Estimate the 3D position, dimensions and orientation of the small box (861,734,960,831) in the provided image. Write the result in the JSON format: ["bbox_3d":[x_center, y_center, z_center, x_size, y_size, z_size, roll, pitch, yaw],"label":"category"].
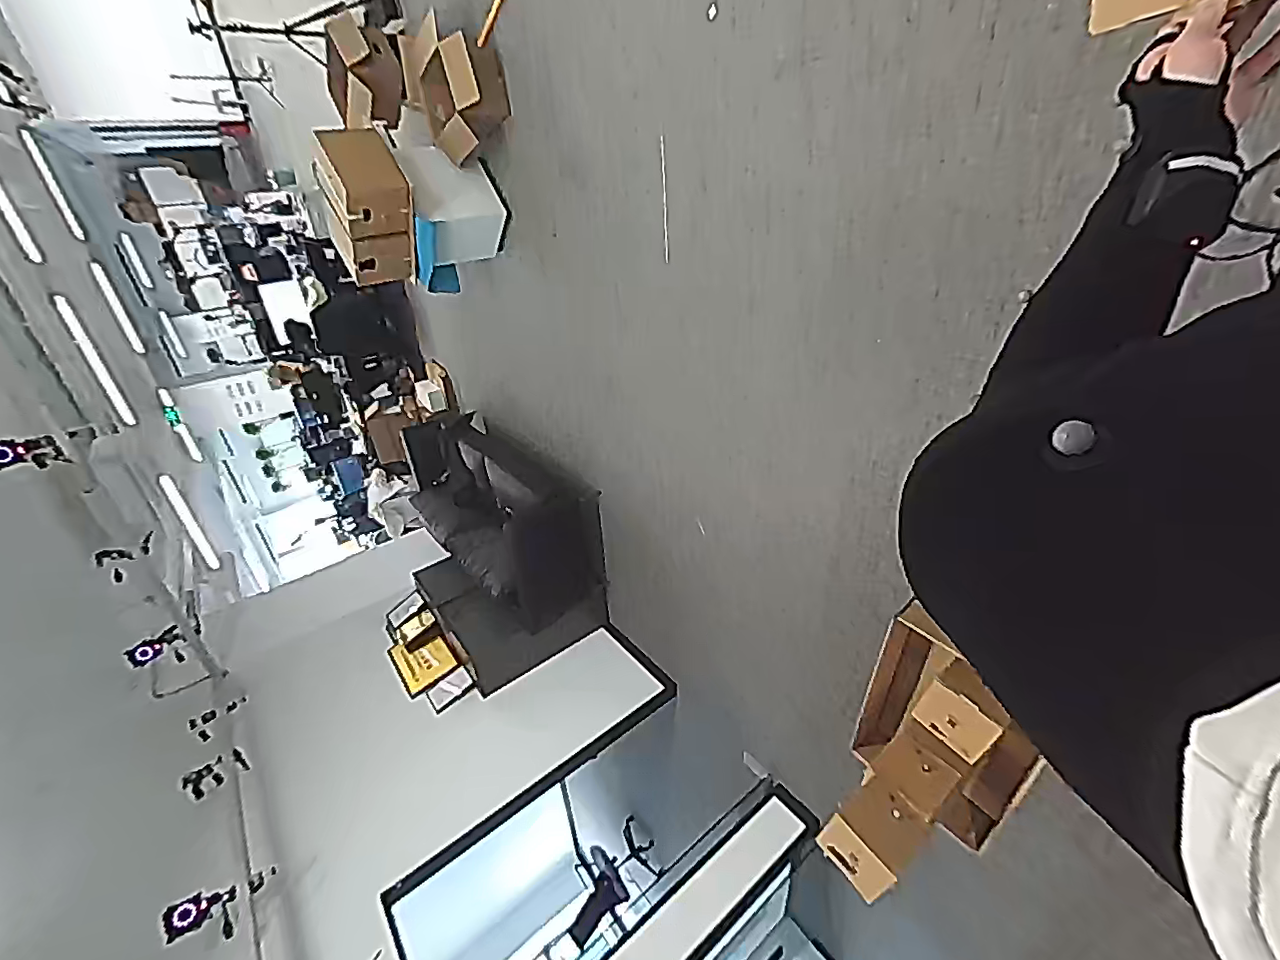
[{"bbox_3d":[0.696,0.810,1.406,0.168,0.176,0.179,32,133,43],"label":"small box"}]

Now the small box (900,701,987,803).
[{"bbox_3d":[0.822,0.758,1.493,0.168,0.176,0.179,32,134,42],"label":"small box"}]

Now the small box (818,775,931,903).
[{"bbox_3d":[0.571,0.870,1.318,0.168,0.176,0.179,40,138,36],"label":"small box"}]
